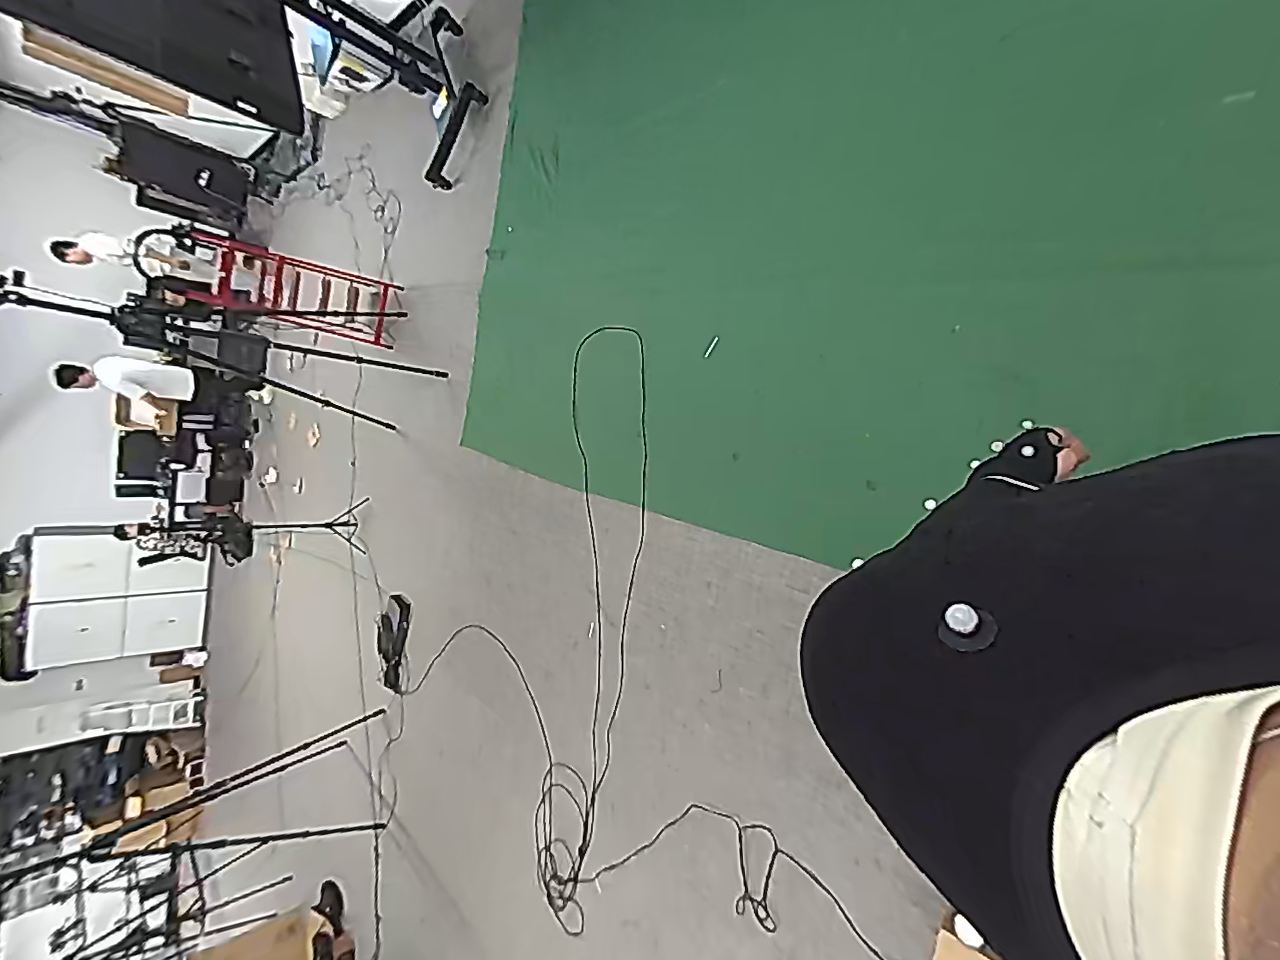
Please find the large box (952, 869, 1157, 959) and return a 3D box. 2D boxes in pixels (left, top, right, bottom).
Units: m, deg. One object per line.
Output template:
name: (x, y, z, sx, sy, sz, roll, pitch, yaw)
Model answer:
large box: (0.921, 1.174, 1.176, 0.408, 0.320, 0.320, 13, 96, 42)
